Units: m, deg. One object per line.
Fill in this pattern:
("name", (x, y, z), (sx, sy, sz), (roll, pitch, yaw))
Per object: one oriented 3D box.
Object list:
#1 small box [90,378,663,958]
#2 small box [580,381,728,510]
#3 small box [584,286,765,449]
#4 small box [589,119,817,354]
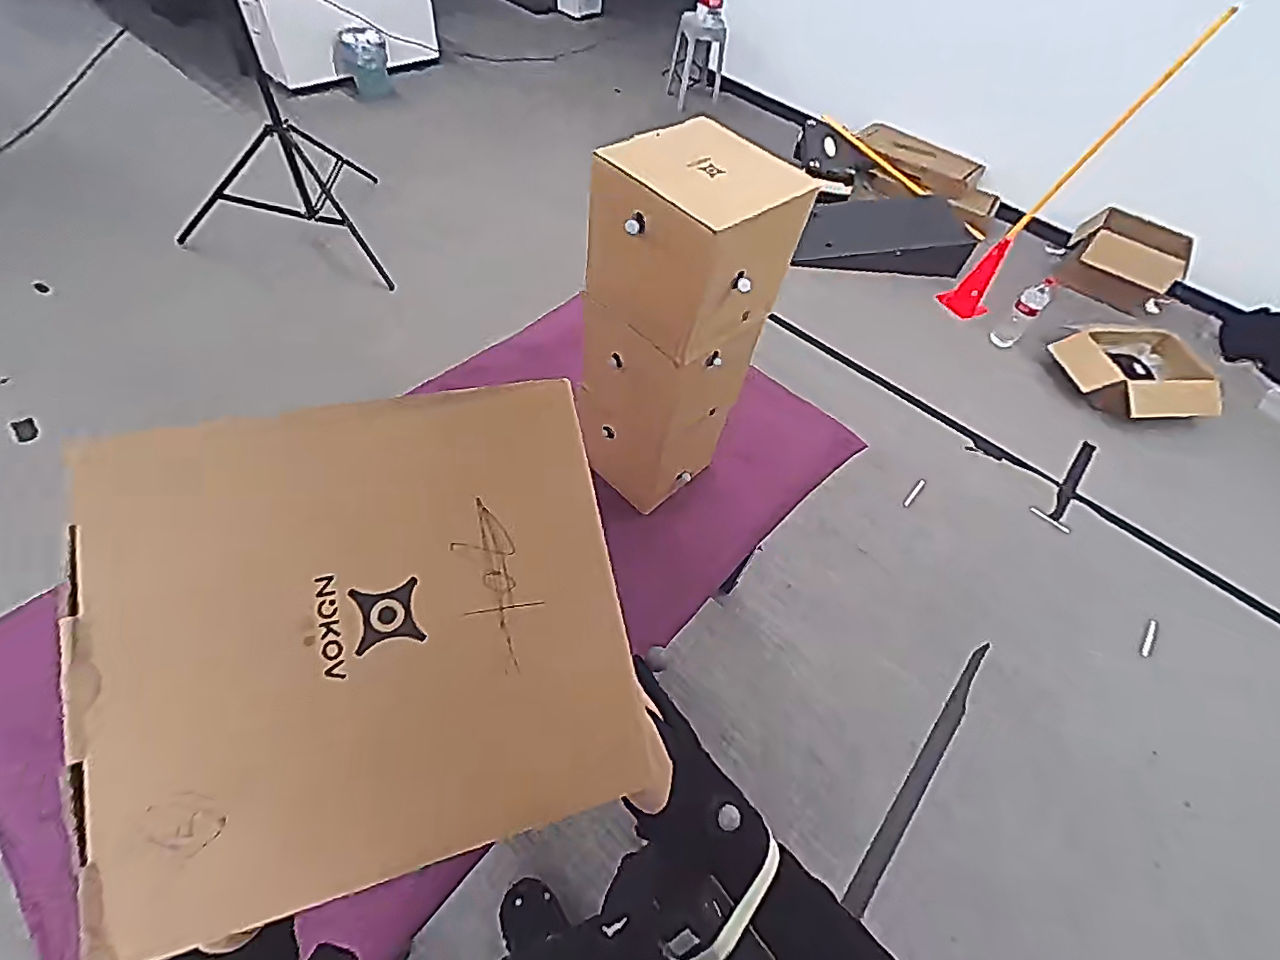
("small box", (-0.108, 0.067, 0.269), (0.179, 0.176, 0.168), (-10, 79, -17))
("small box", (0.015, -0.084, 0.881), (0.179, 0.176, 0.168), (41, 60, 20))
("small box", (0.035, -0.176, 0.746), (0.168, 0.176, 0.179), (-35, 65, -27))
("small box", (0.059, -0.267, 0.613), (0.168, 0.176, 0.179), (-36, 66, -27))
